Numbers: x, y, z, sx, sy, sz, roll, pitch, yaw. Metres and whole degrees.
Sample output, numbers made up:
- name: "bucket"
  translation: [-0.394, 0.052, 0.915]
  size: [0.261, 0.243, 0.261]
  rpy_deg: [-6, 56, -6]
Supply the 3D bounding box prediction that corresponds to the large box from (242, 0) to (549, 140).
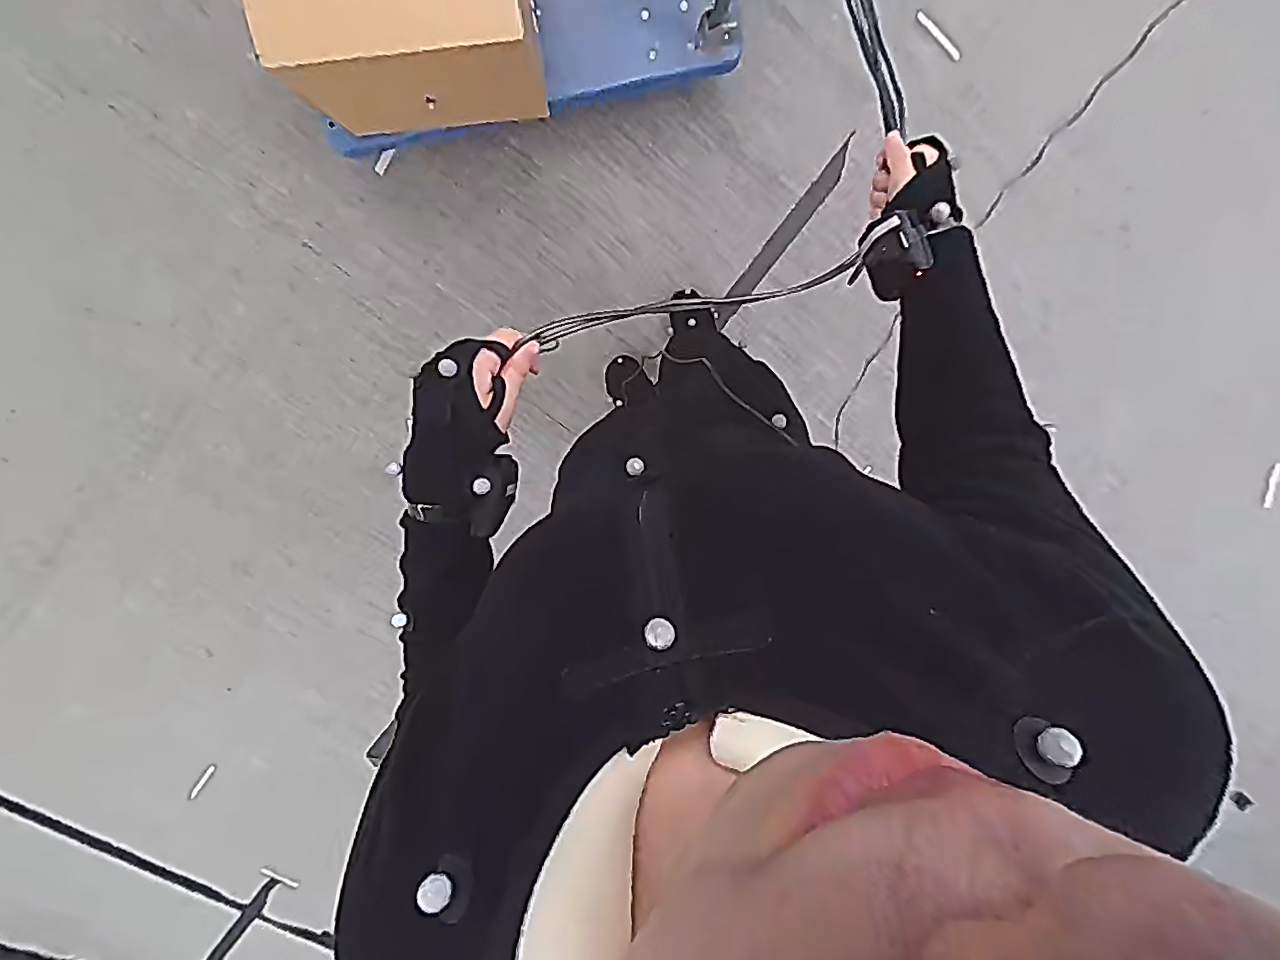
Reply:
- name: "large box"
  translation: [-0.394, -0.818, 0.919]
  size: [0.408, 0.320, 0.320]
  rpy_deg: [-7, 105, 0]
